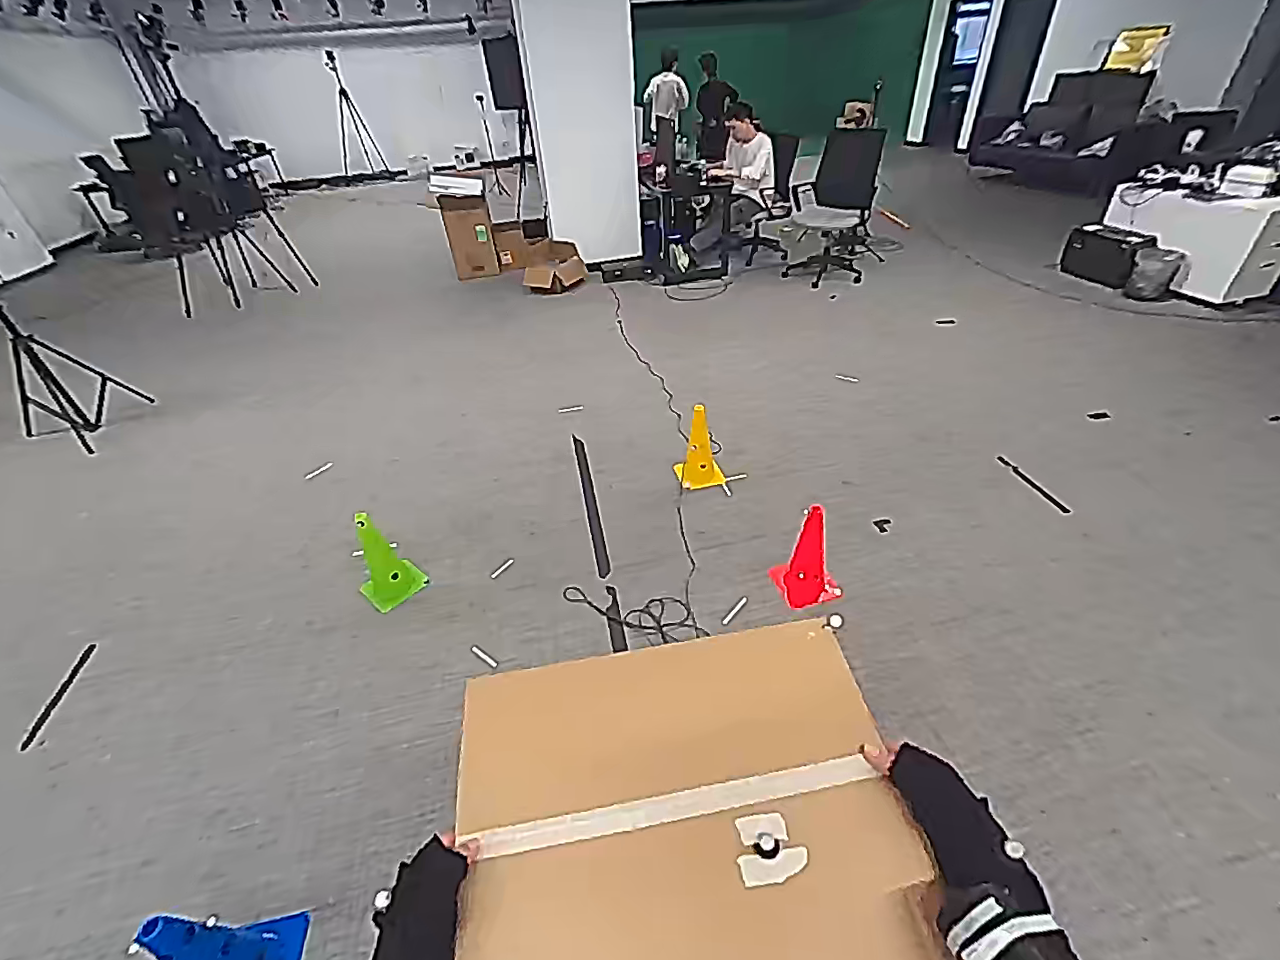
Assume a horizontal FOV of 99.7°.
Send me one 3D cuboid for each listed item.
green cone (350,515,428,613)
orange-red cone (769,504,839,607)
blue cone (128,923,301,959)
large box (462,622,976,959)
[{"bbox_3d":[-0.956,0.271,1.967,0.200,0.368,0.202,24,47,34],"label":"green cone"},{"bbox_3d":[0.576,0.231,1.845,0.198,0.360,0.199,-11,36,-10],"label":"orange-red cone"},{"bbox_3d":[-0.865,0.962,1.075,0.192,0.380,0.193,-10,37,-4],"label":"blue cone"},{"bbox_3d":[0.046,0.404,0.603,0.408,0.320,0.320,-9,46,-5],"label":"large box"}]
